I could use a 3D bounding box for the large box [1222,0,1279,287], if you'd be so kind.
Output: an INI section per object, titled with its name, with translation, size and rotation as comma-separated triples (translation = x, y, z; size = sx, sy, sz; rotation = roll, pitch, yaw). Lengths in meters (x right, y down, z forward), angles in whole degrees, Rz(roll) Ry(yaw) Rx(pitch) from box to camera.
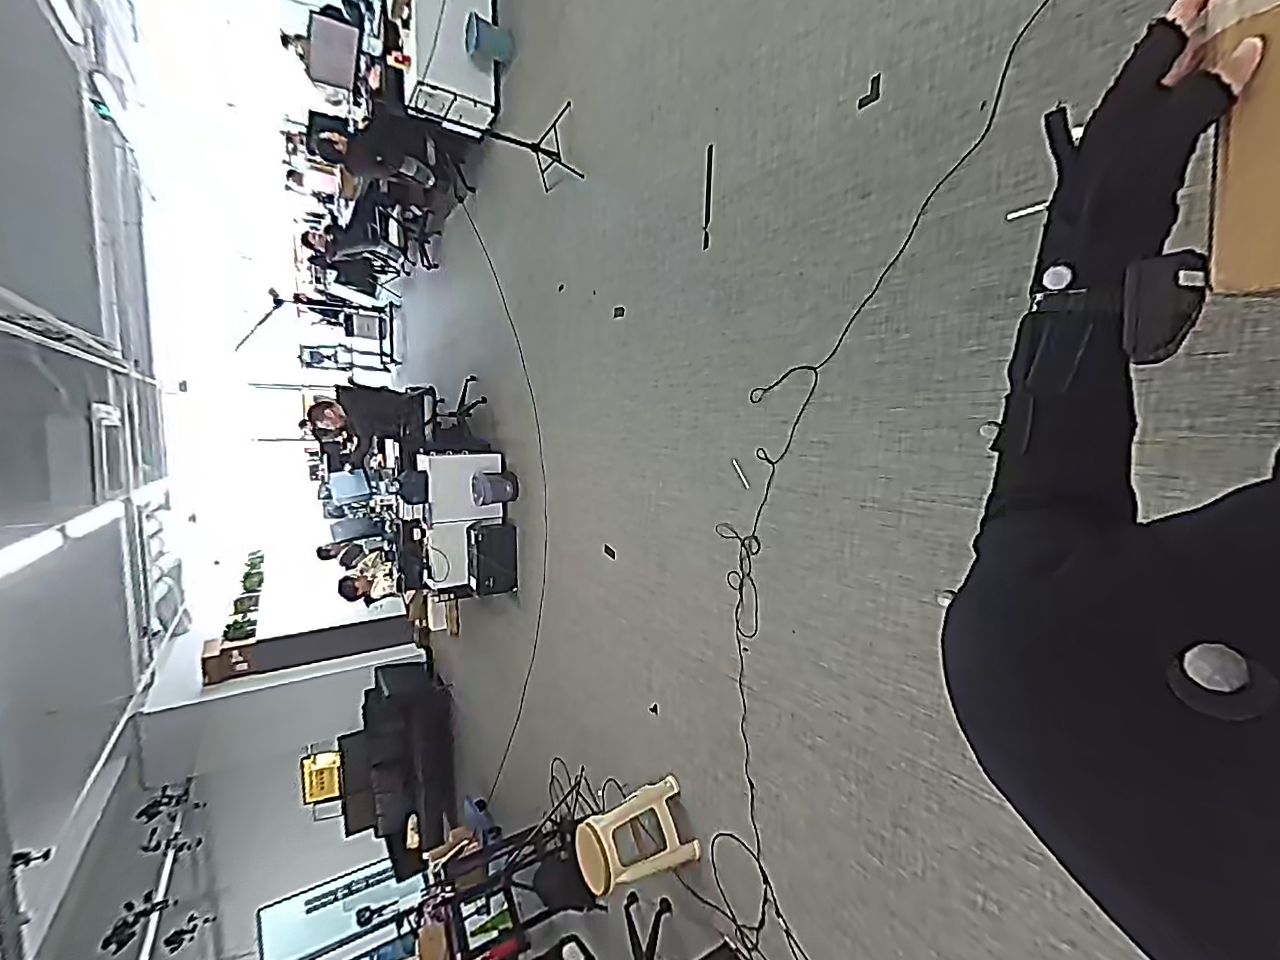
[large box]
translation = 0.565, -0.287, 0.232
size = 0.408, 0.320, 0.320
rotation = 6, 107, 53
